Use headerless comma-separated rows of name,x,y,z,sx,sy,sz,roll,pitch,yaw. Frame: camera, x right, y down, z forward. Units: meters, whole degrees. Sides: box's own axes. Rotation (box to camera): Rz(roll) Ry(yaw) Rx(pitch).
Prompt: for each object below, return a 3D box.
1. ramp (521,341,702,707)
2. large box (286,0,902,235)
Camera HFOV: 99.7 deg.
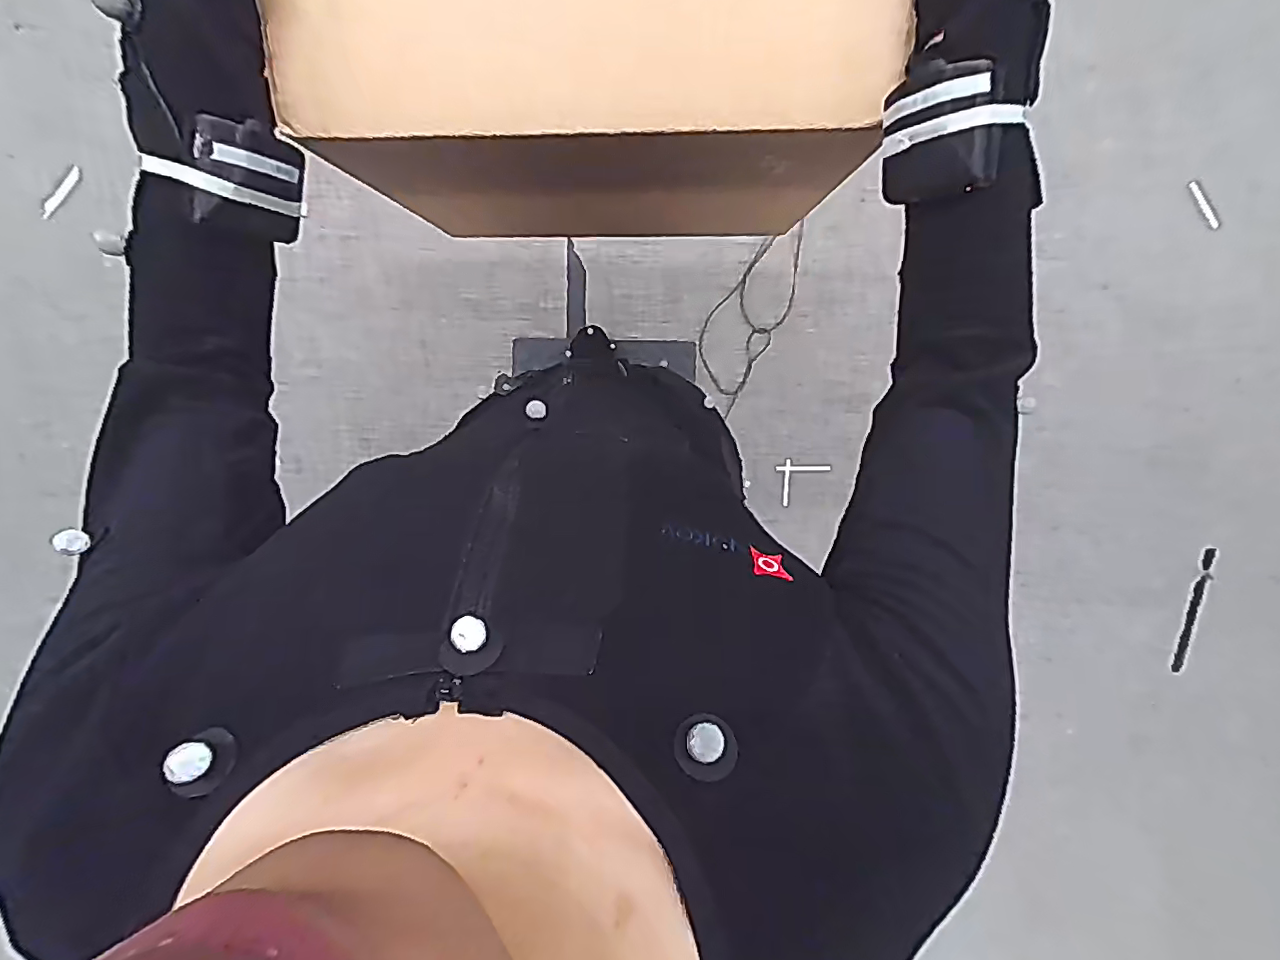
ramp,-0.082,0.122,1.475,0.509,0.206,0.991,-1,102,2
large box,-0.031,-0.419,0.475,0.408,0.320,0.320,-1,103,1
